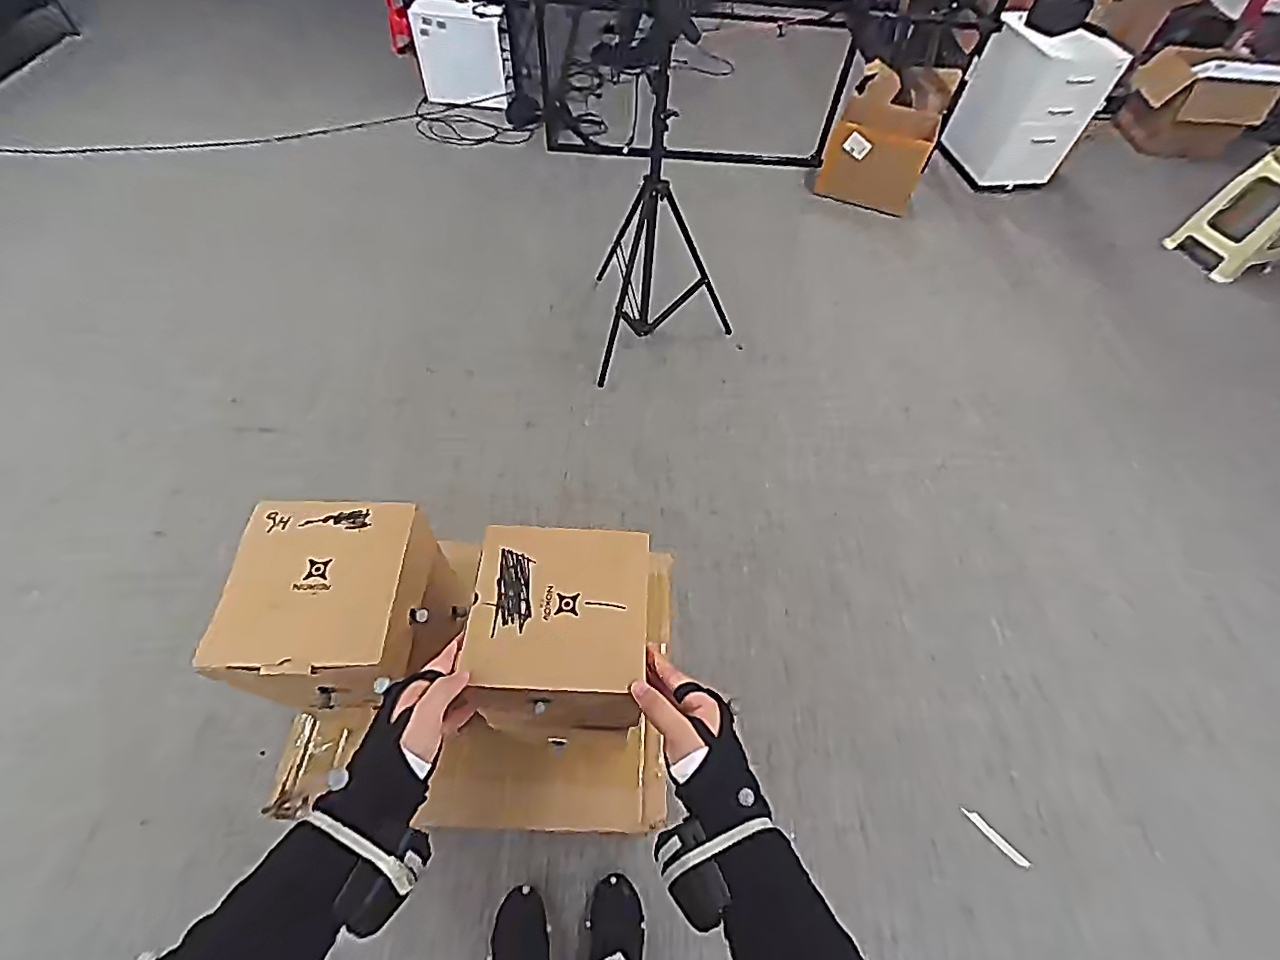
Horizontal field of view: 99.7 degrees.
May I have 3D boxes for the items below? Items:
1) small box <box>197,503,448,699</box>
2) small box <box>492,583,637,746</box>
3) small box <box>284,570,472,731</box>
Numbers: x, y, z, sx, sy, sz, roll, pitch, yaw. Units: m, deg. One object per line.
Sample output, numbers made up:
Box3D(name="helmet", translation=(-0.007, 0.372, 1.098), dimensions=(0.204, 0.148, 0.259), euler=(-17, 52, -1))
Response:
Box3D(name="small box", translation=(-0.324, 0.141, 0.601), dimensions=(0.168, 0.176, 0.179), euler=(1, 58, -4))
Box3D(name="small box", translation=(-0.092, 0.256, 0.742), dimensions=(0.168, 0.176, 0.179), euler=(2, 58, 0))
Box3D(name="small box", translation=(-0.335, 0.233, 0.738), dimensions=(0.168, 0.176, 0.179), euler=(3, 57, -3))
